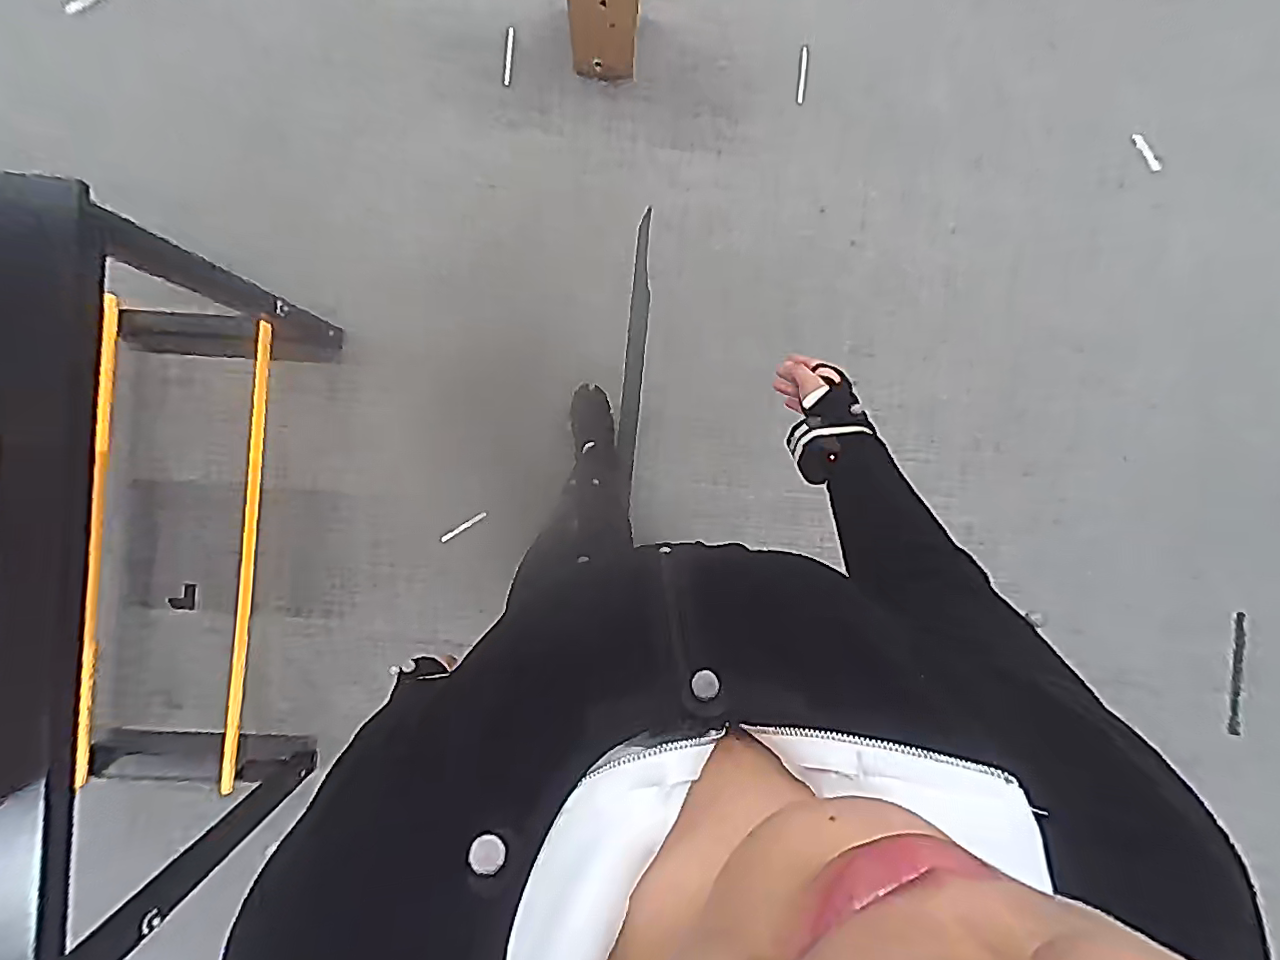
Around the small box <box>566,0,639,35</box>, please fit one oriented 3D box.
[{"bbox_3d":[-0.082,-1.154,1.217,0.168,0.176,0.179,3,91,-2],"label":"small box"}]

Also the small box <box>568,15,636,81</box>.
[{"bbox_3d":[-0.092,-1.173,1.381,0.168,0.176,0.179,2,92,-2],"label":"small box"}]
